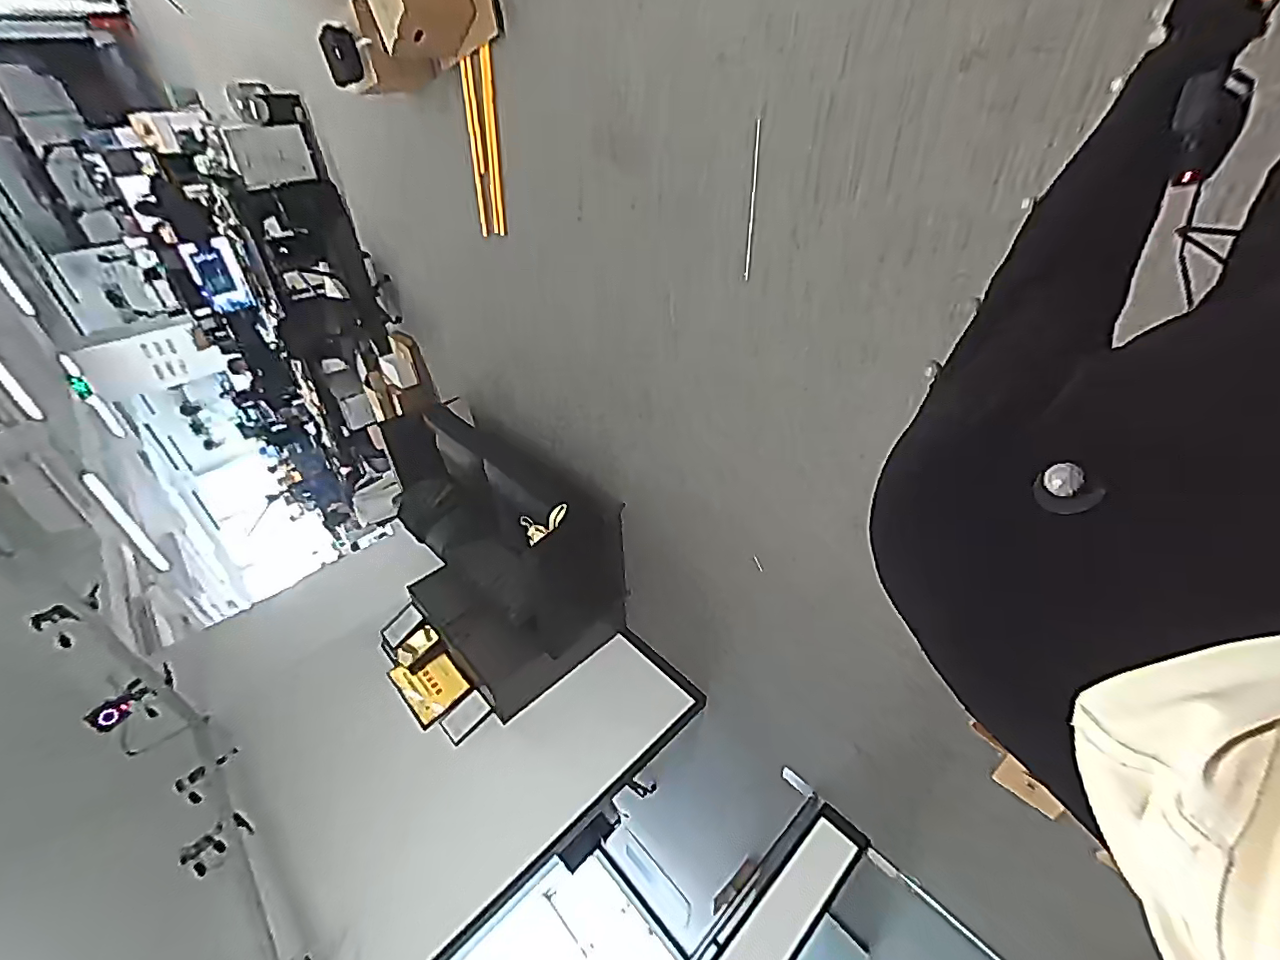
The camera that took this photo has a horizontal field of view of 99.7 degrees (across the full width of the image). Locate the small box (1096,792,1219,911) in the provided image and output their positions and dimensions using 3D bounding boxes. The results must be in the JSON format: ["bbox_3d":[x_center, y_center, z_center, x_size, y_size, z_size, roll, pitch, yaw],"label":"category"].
[{"bbox_3d":[1.358,0.968,1.418,0.168,0.176,0.179,33,141,34],"label":"small box"}]
